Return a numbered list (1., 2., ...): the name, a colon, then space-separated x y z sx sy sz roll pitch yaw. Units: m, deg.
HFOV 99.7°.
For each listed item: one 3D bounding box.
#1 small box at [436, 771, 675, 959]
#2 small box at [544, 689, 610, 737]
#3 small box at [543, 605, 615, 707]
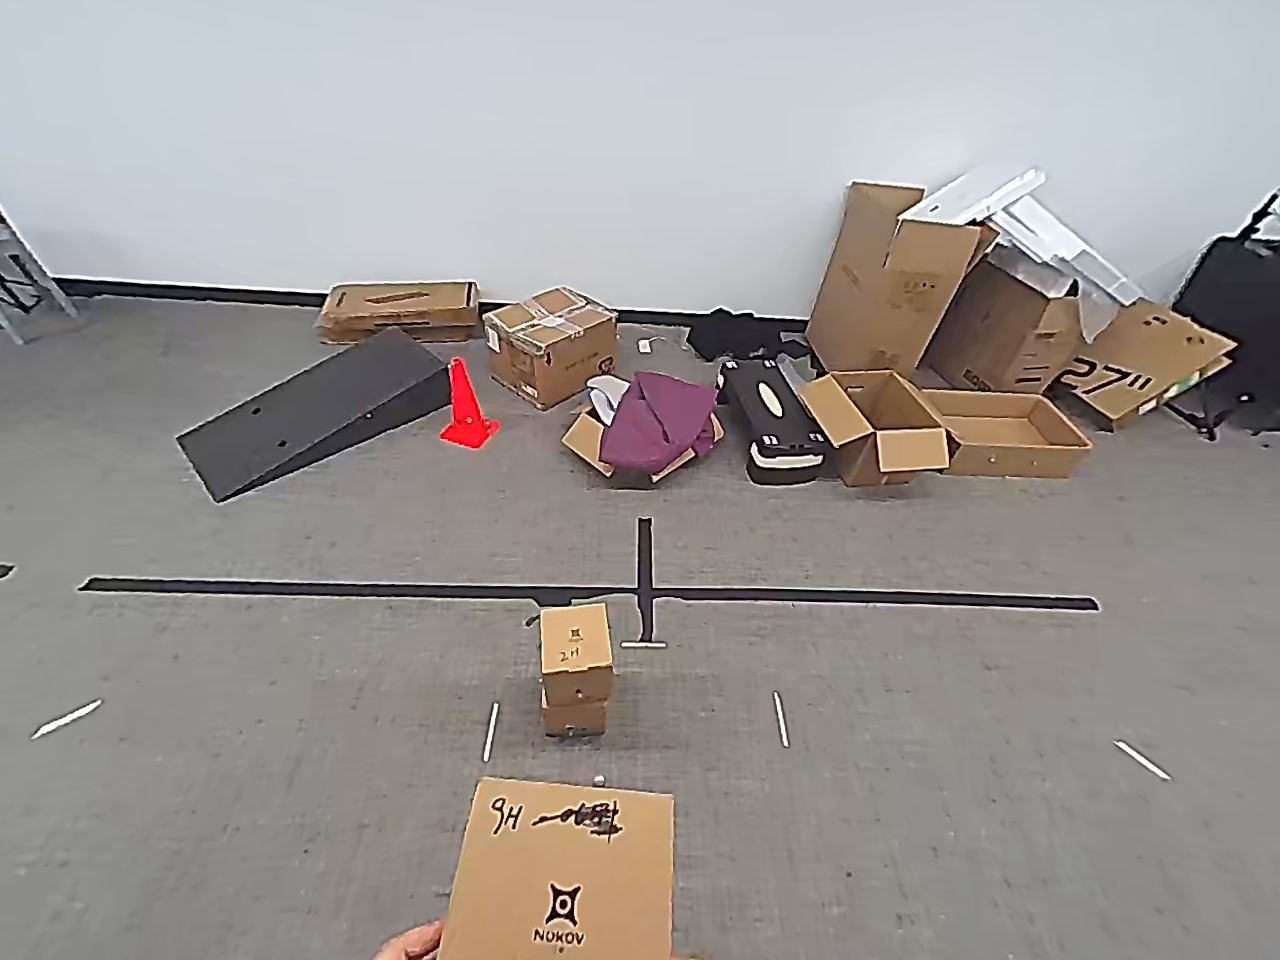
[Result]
1. small box: -0.063 0.365 0.458 0.168 0.176 0.179 6 51 -1
2. small box: -0.167 0.571 1.461 0.168 0.176 0.179 -1 44 -5
3. small box: -0.156 0.441 1.359 0.168 0.176 0.179 -5 43 -8
